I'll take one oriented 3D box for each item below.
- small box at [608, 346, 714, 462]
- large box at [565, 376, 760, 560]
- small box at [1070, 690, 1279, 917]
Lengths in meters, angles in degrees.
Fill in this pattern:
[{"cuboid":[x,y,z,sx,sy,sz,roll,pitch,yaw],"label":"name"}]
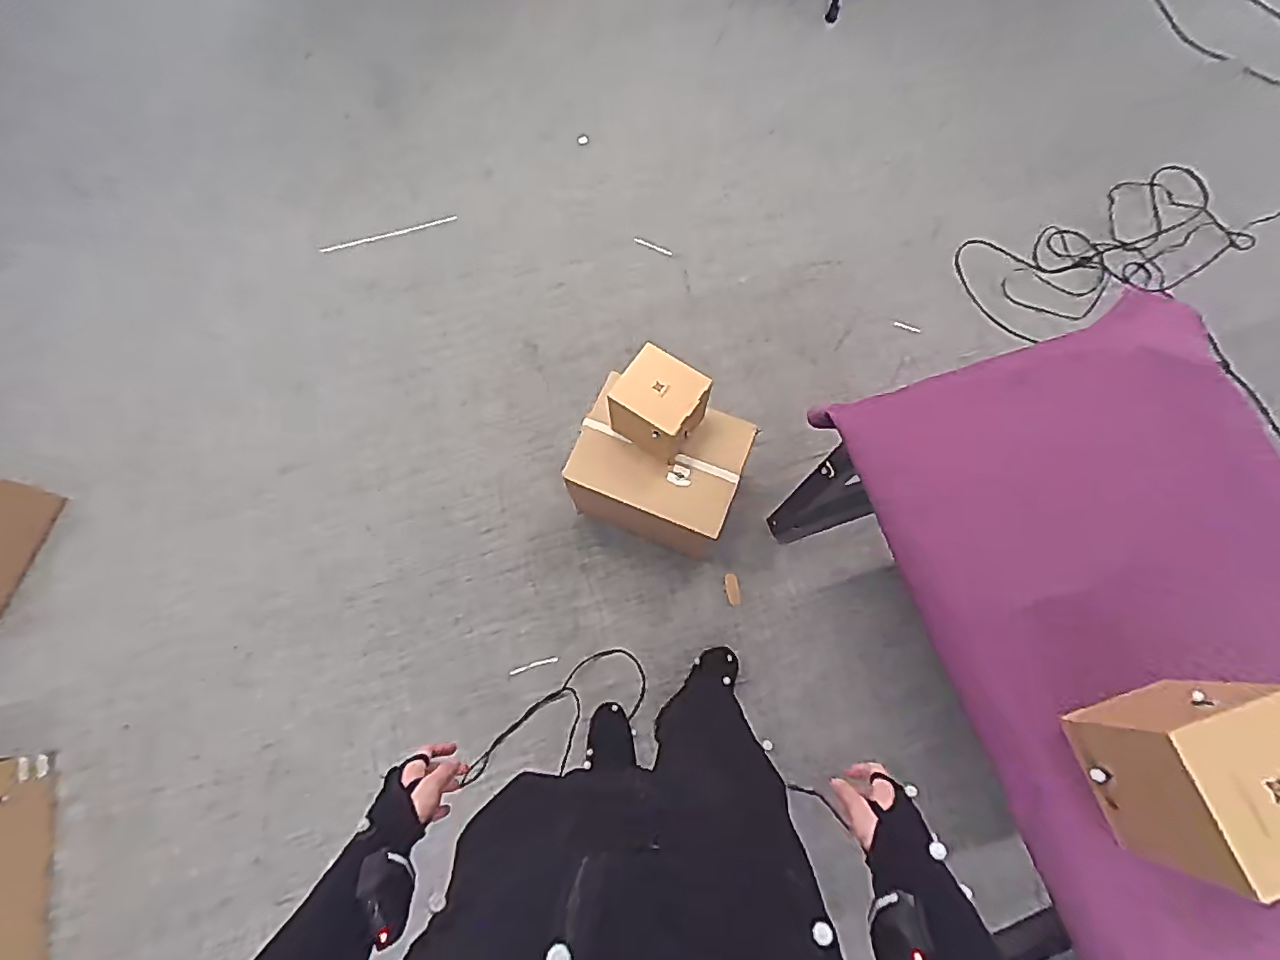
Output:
[{"cuboid":[0.044,-0.166,1.240,0.179,0.176,0.168,33,73,10],"label":"small box"},{"cuboid":[0.055,-0.018,1.448,0.408,0.320,0.320,22,74,6],"label":"large box"},{"cuboid":[0.670,0.352,0.629,0.179,0.176,0.168,-15,72,-5],"label":"small box"}]
